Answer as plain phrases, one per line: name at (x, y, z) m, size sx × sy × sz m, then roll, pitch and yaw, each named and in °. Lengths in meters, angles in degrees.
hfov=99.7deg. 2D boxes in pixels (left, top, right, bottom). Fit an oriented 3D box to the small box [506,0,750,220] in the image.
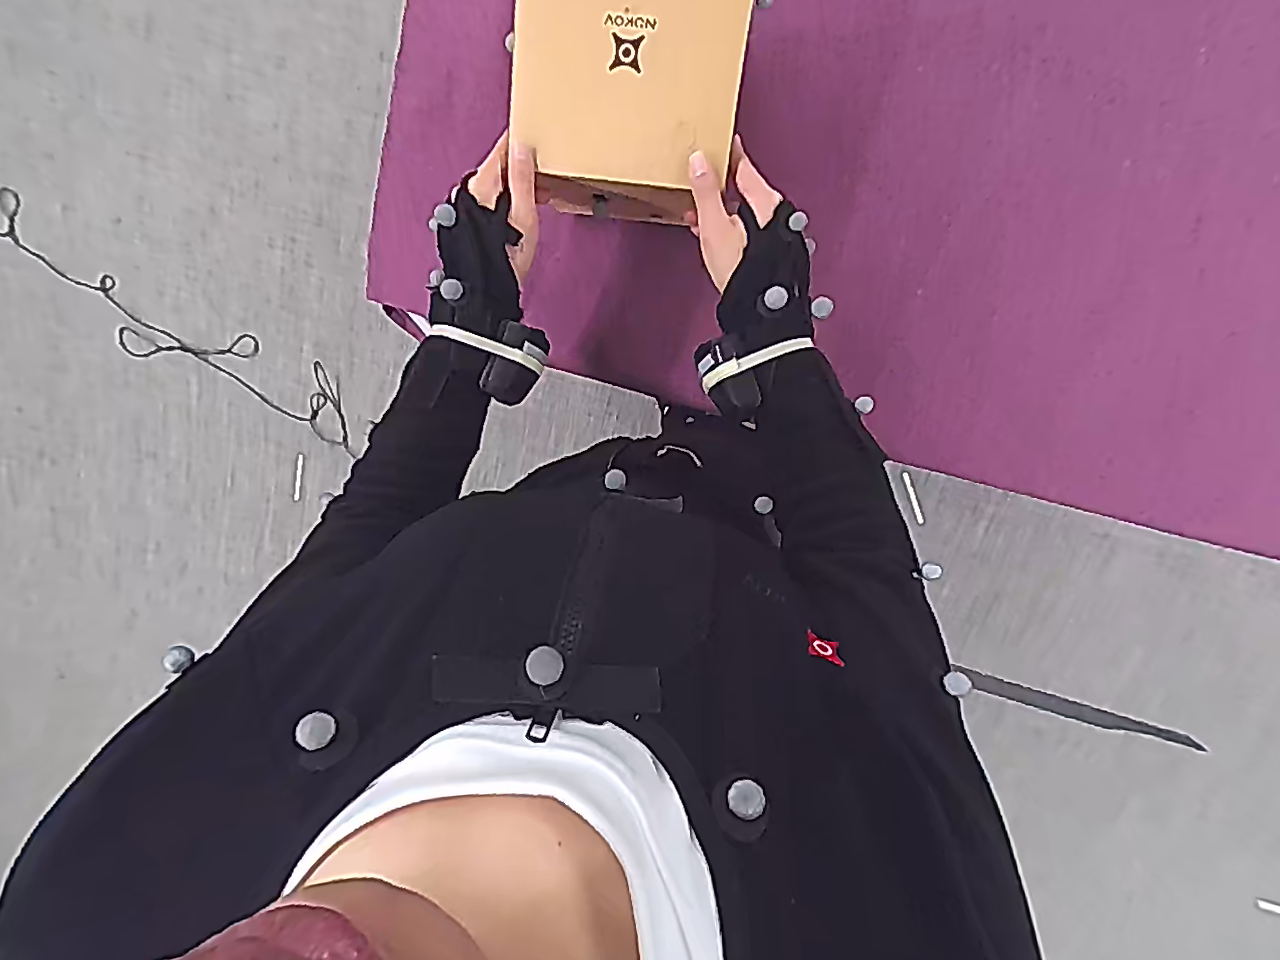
small box at (-0.002, -0.330, 0.452) m, size 0.168 × 0.176 × 0.179 m, roll 8°, pitch 106°, yaw 4°
